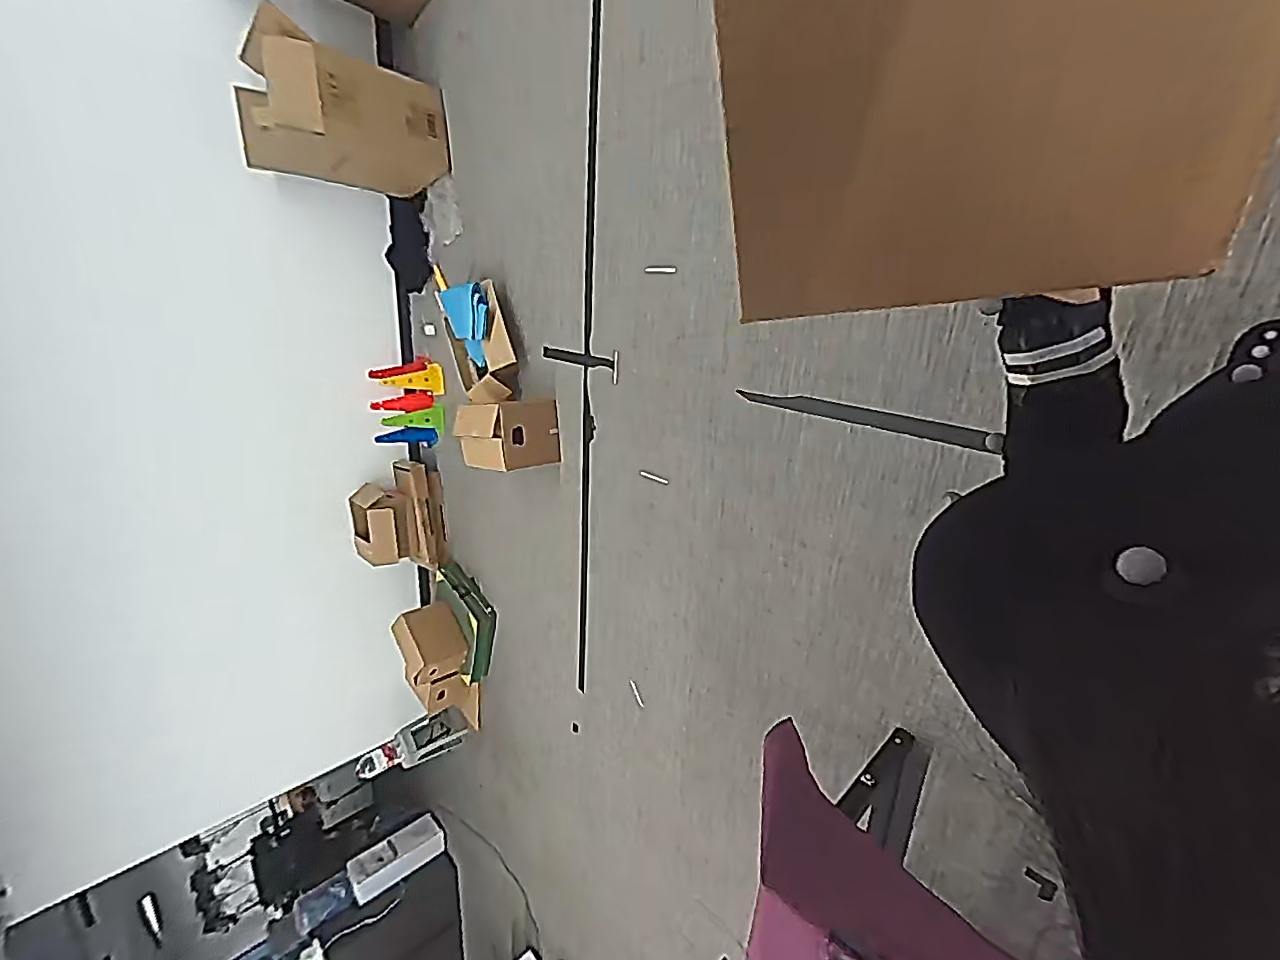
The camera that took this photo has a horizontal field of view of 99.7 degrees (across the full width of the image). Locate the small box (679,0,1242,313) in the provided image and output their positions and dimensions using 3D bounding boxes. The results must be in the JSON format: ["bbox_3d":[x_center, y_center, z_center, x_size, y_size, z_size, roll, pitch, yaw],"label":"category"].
[{"bbox_3d":[0.114,-0.194,0.226,0.168,0.179,0.176,-1,130,20],"label":"small box"}]
